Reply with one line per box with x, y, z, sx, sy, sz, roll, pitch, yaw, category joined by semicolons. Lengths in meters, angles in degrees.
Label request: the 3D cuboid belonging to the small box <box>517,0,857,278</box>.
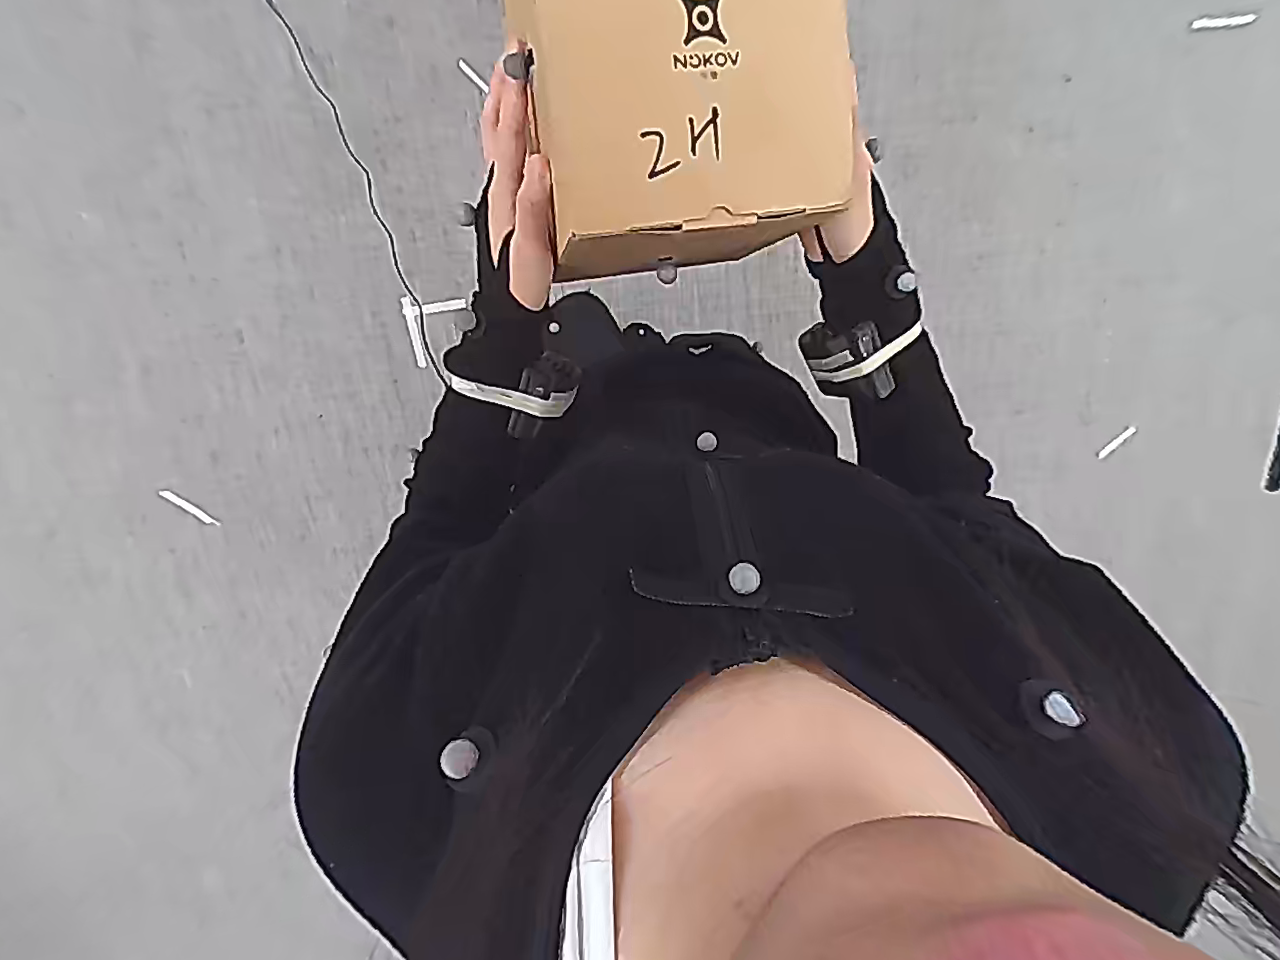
0.016;-0.243;0.351;0.168;0.176;0.179;-11;104;-10;small box
